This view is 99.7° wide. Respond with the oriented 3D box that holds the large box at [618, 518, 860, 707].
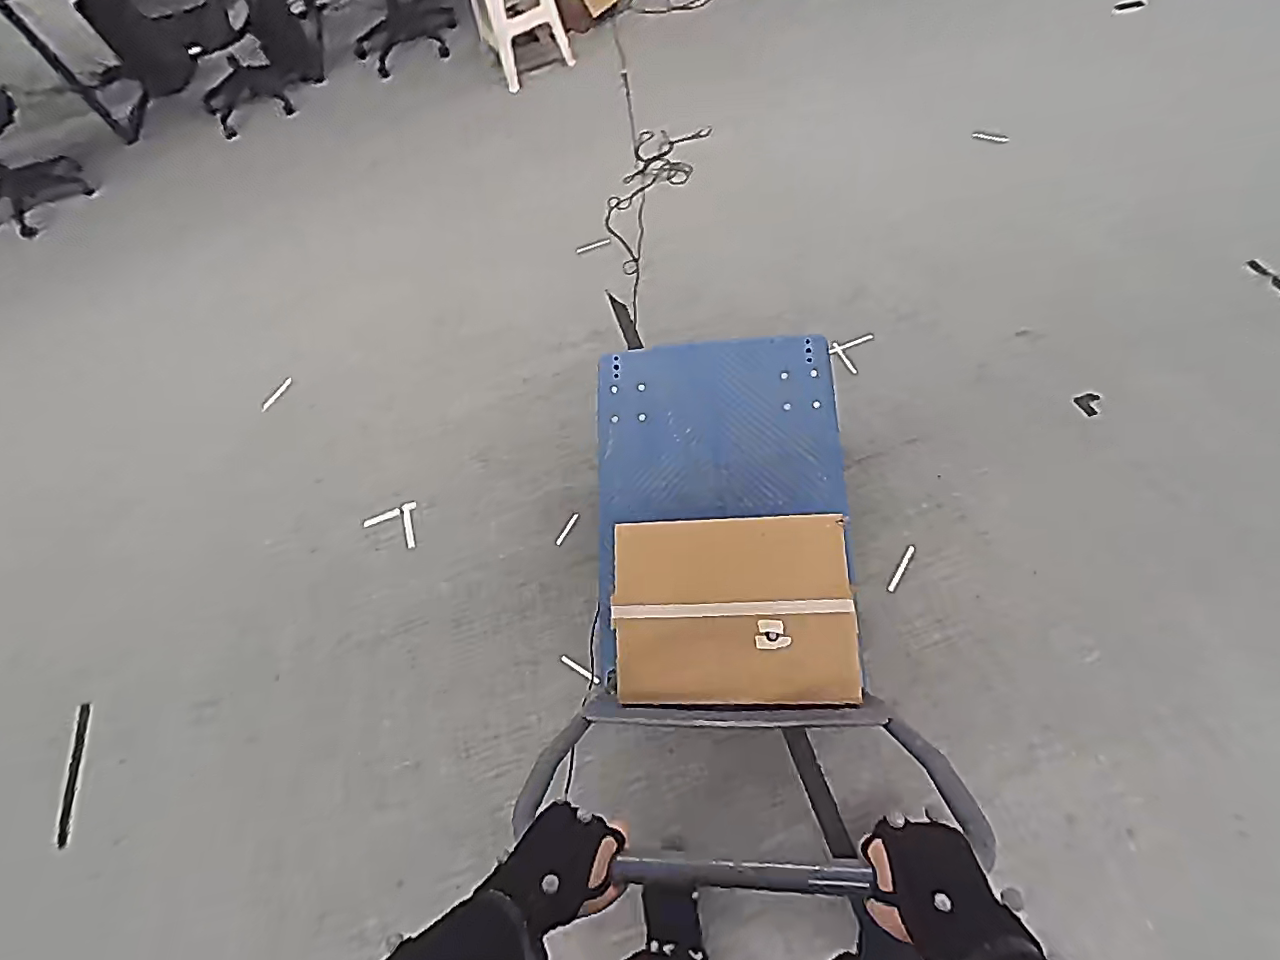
[{"bbox_3d":[0.181,0.264,1.093,0.408,0.320,0.320,-4,77,7],"label":"large box"}]
